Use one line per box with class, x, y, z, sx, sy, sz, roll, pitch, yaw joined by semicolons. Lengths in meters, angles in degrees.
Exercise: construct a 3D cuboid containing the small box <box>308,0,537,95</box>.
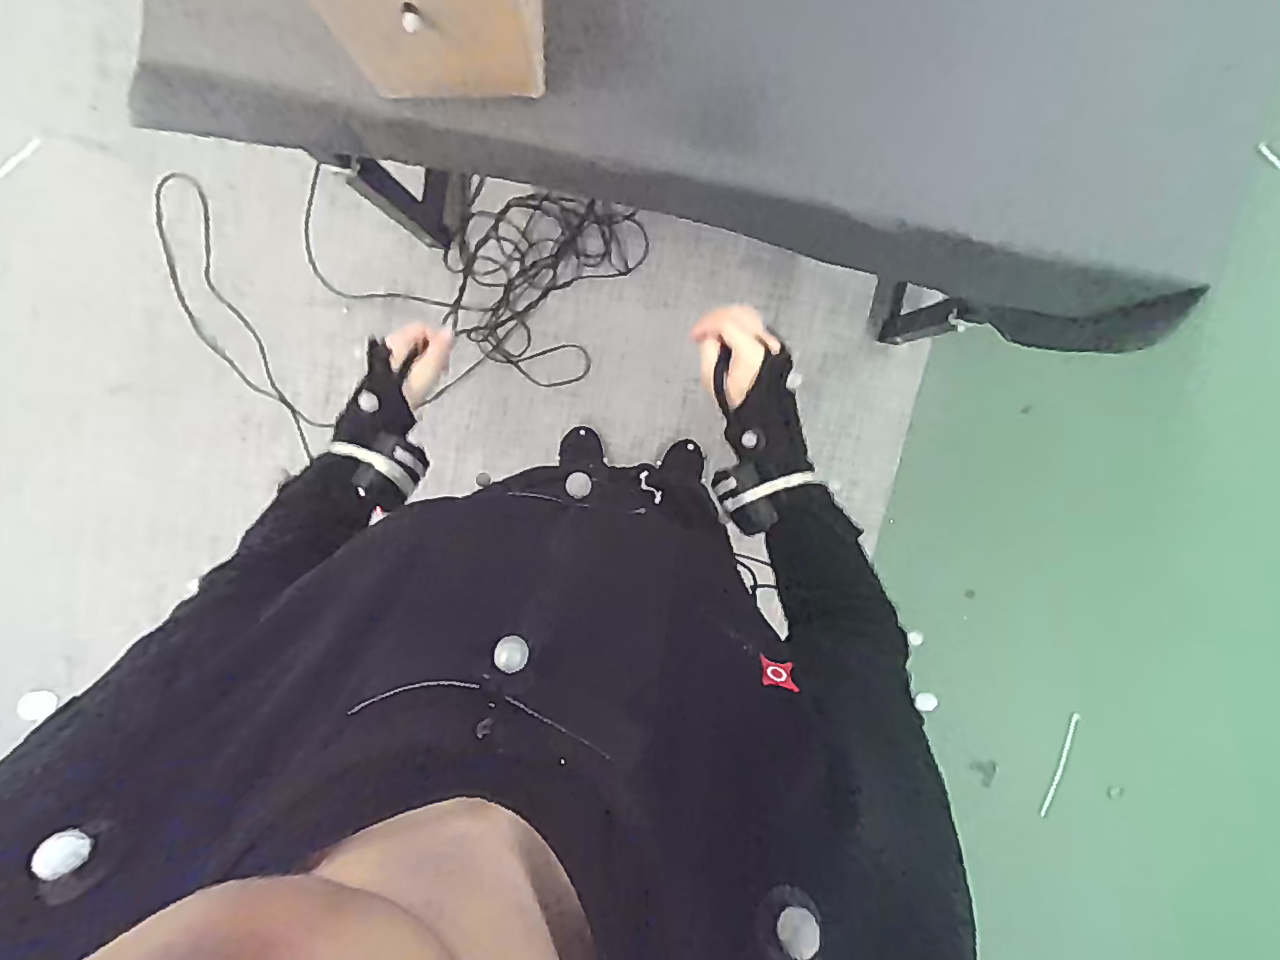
small box;-0.190;-0.482;0.488;0.179;0.176;0.168;-1;97;-1
